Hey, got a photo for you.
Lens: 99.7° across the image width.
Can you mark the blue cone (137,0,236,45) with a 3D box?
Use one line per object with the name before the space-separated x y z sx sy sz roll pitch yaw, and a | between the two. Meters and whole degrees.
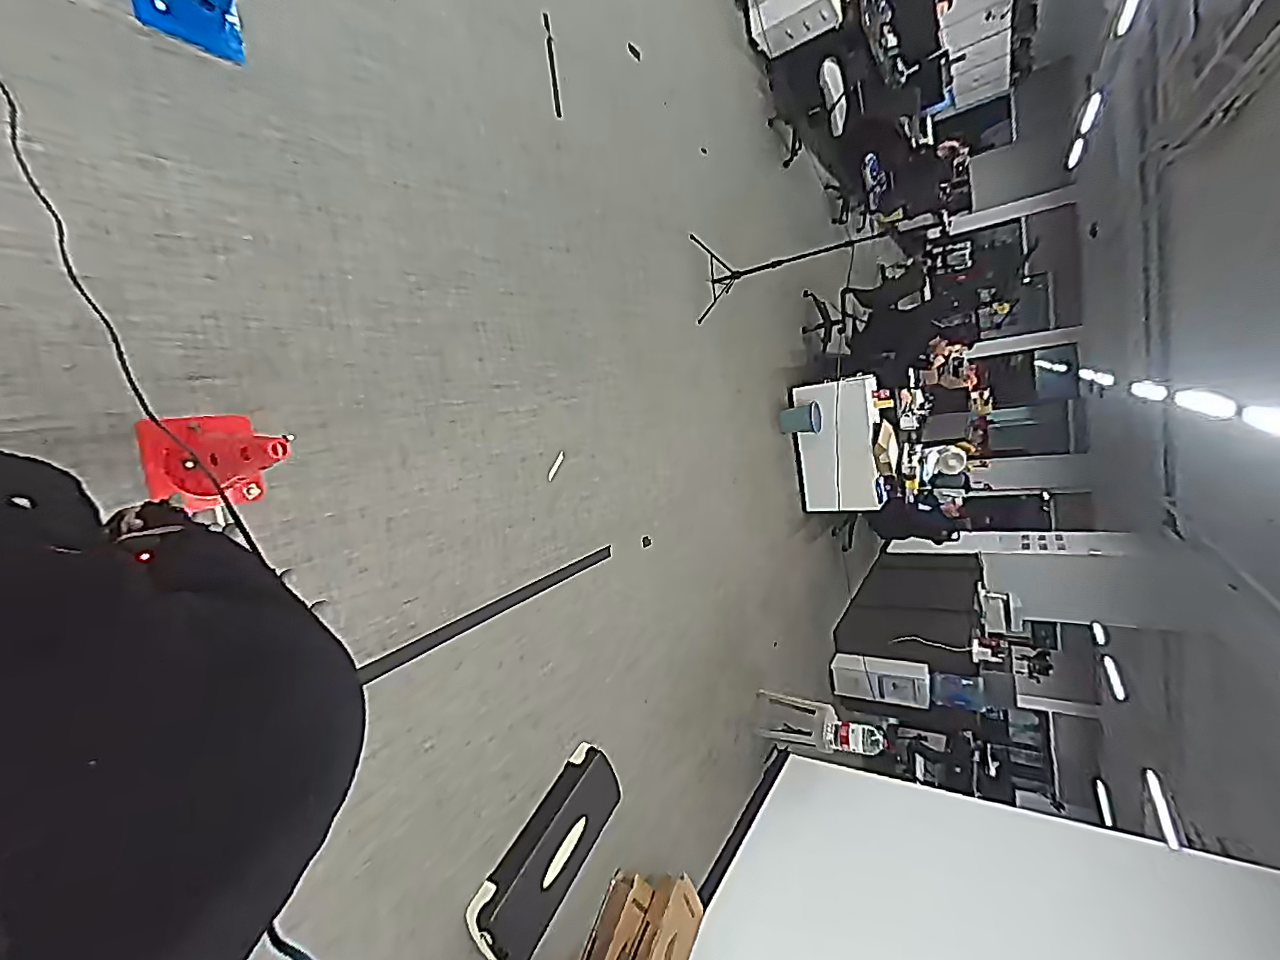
blue cone | -0.863 -1.084 1.082 0.193 0.380 0.192 -13 97 -56
